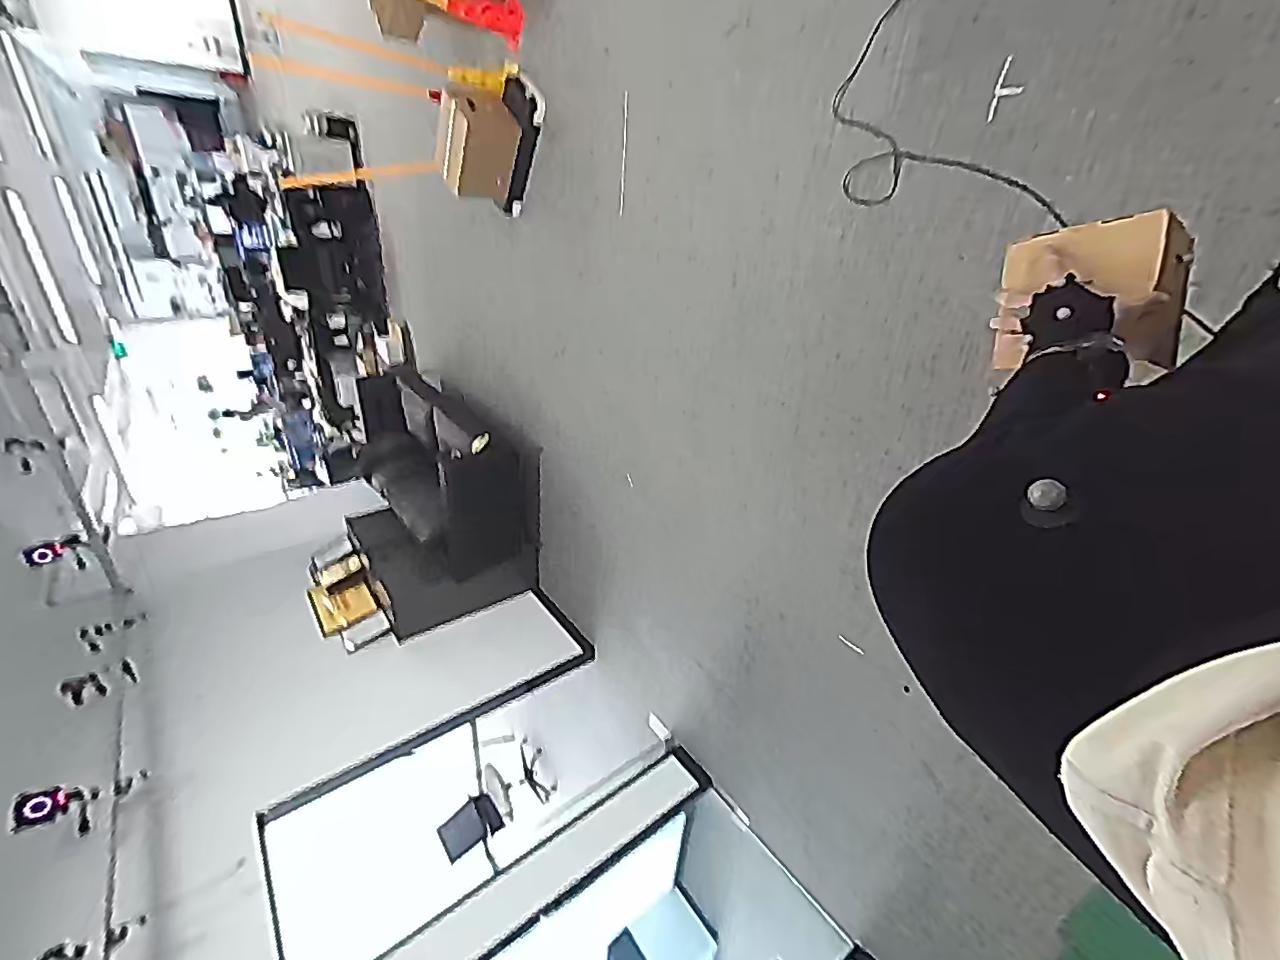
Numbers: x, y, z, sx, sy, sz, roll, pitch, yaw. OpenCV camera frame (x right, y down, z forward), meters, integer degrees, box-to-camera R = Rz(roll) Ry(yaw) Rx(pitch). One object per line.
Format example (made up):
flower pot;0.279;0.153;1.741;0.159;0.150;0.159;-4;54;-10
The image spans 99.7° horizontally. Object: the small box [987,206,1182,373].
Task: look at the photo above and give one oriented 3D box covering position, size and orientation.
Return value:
small box;0.607;-0.244;0.741;0.168;0.176;0.179;10;102;53
